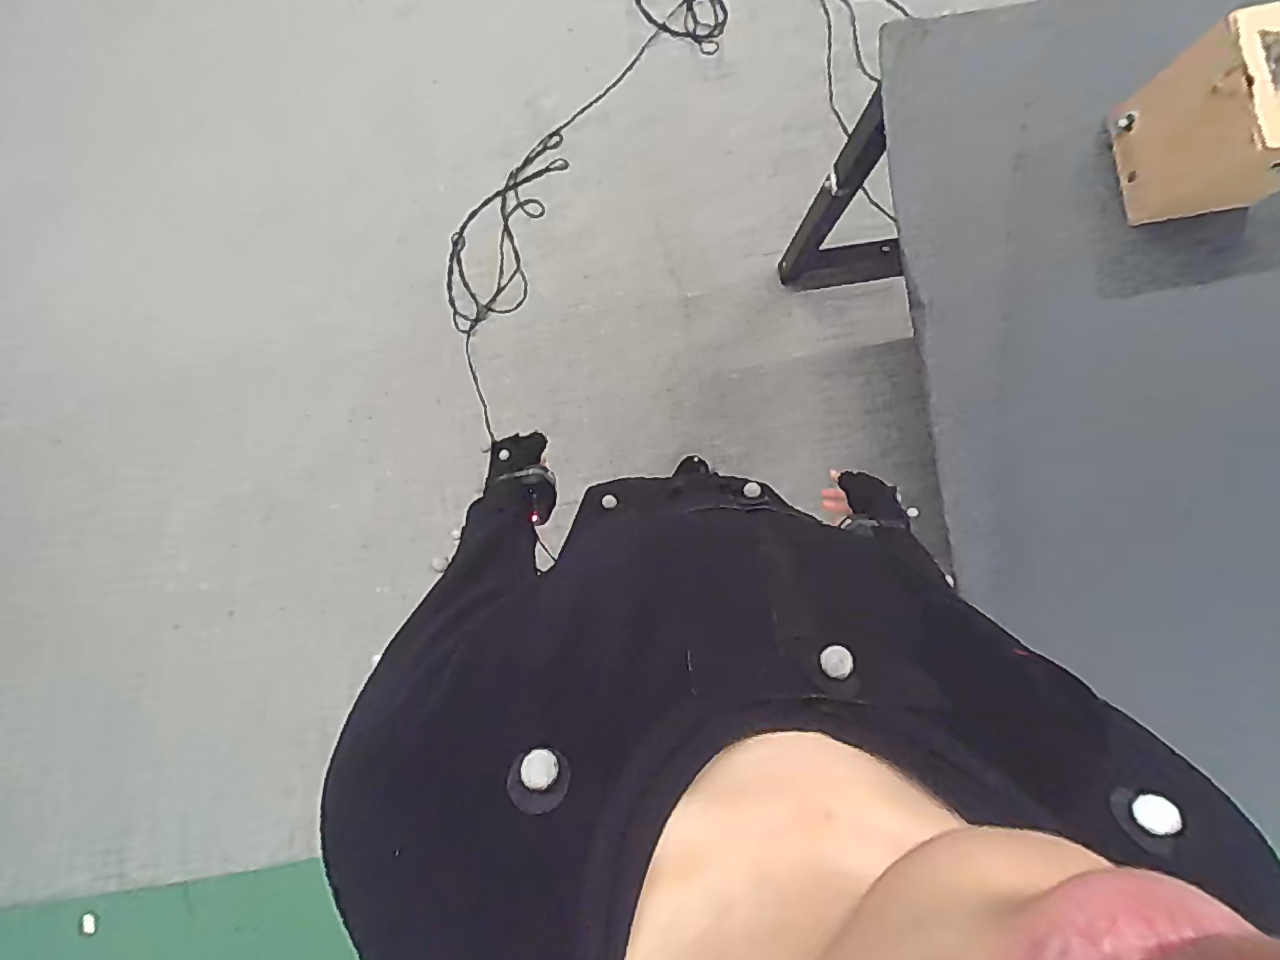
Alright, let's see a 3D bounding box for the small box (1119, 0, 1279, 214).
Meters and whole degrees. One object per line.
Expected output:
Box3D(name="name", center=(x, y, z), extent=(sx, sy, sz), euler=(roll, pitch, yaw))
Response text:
Box3D(name="small box", center=(0.755, -0.461, 0.678), extent=(0.179, 0.176, 0.168), euler=(-10, 88, 0))
